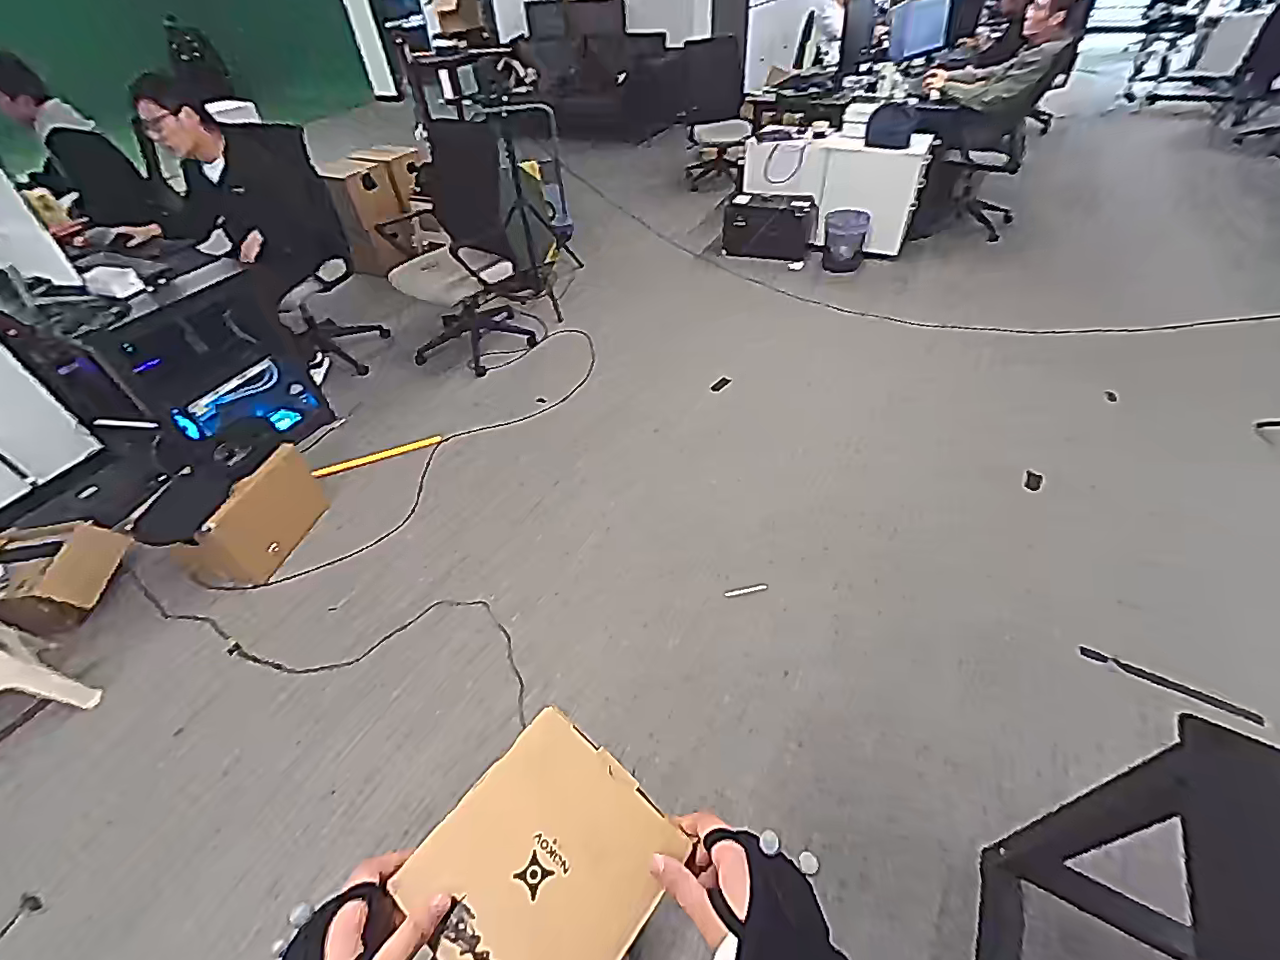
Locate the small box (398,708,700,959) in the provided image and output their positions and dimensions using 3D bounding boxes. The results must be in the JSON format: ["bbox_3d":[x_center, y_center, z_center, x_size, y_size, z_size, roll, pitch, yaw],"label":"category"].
[{"bbox_3d":[-0.070,0.343,0.480,0.168,0.176,0.179,35,61,22],"label":"small box"}]
